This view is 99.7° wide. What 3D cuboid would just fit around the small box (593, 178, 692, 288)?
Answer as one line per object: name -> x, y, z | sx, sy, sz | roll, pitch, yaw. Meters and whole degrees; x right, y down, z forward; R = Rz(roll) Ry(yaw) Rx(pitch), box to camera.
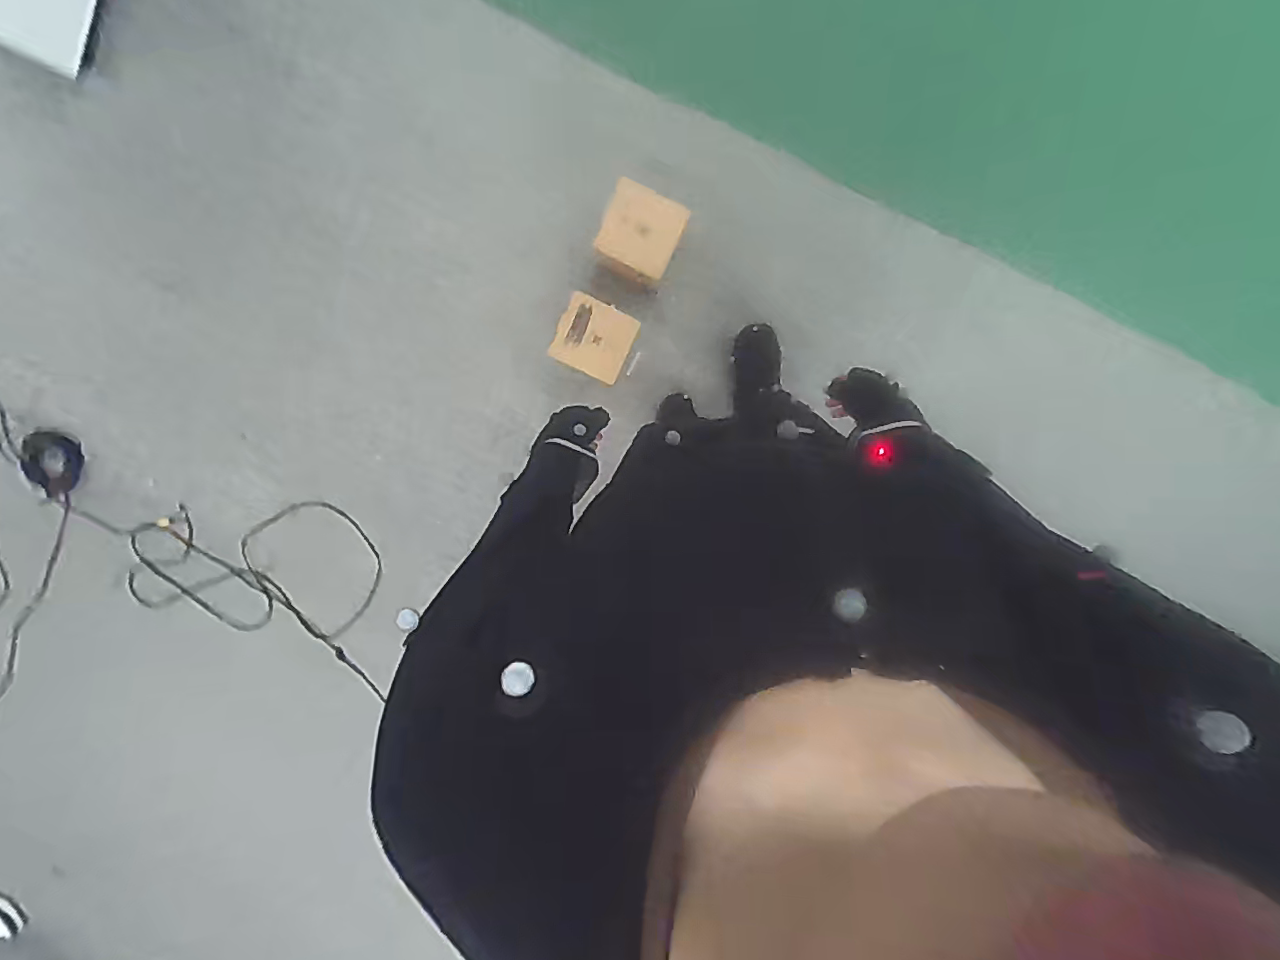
small box -> 0.008, -0.576, 1.290 | 0.179, 0.176, 0.168 | 26, 100, -2
